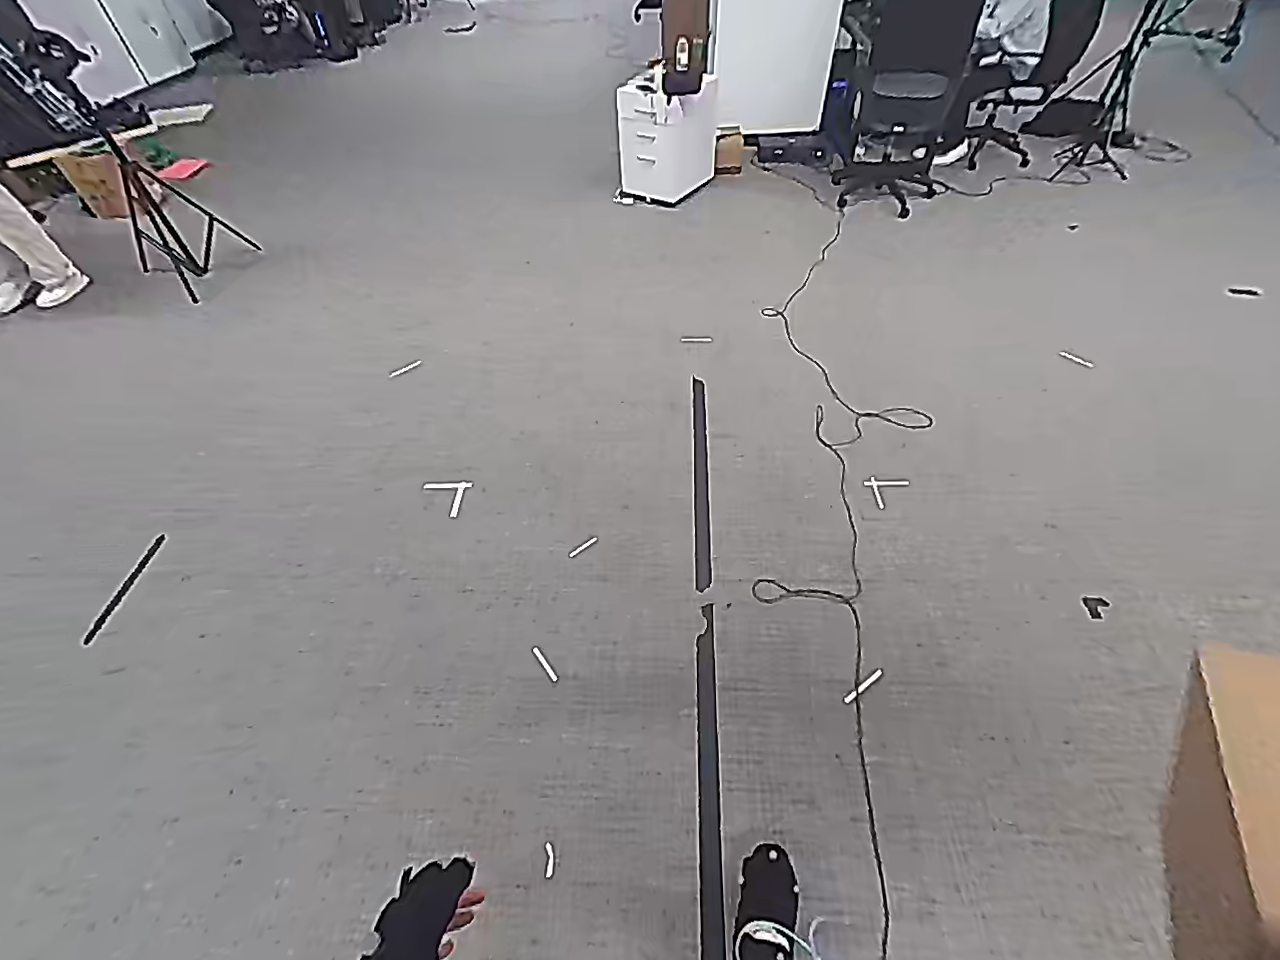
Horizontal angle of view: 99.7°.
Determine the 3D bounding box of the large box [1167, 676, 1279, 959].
[{"bbox_3d":[0.751,0.466,0.516,0.320,0.320,0.408,3,18,40],"label":"large box"}]
